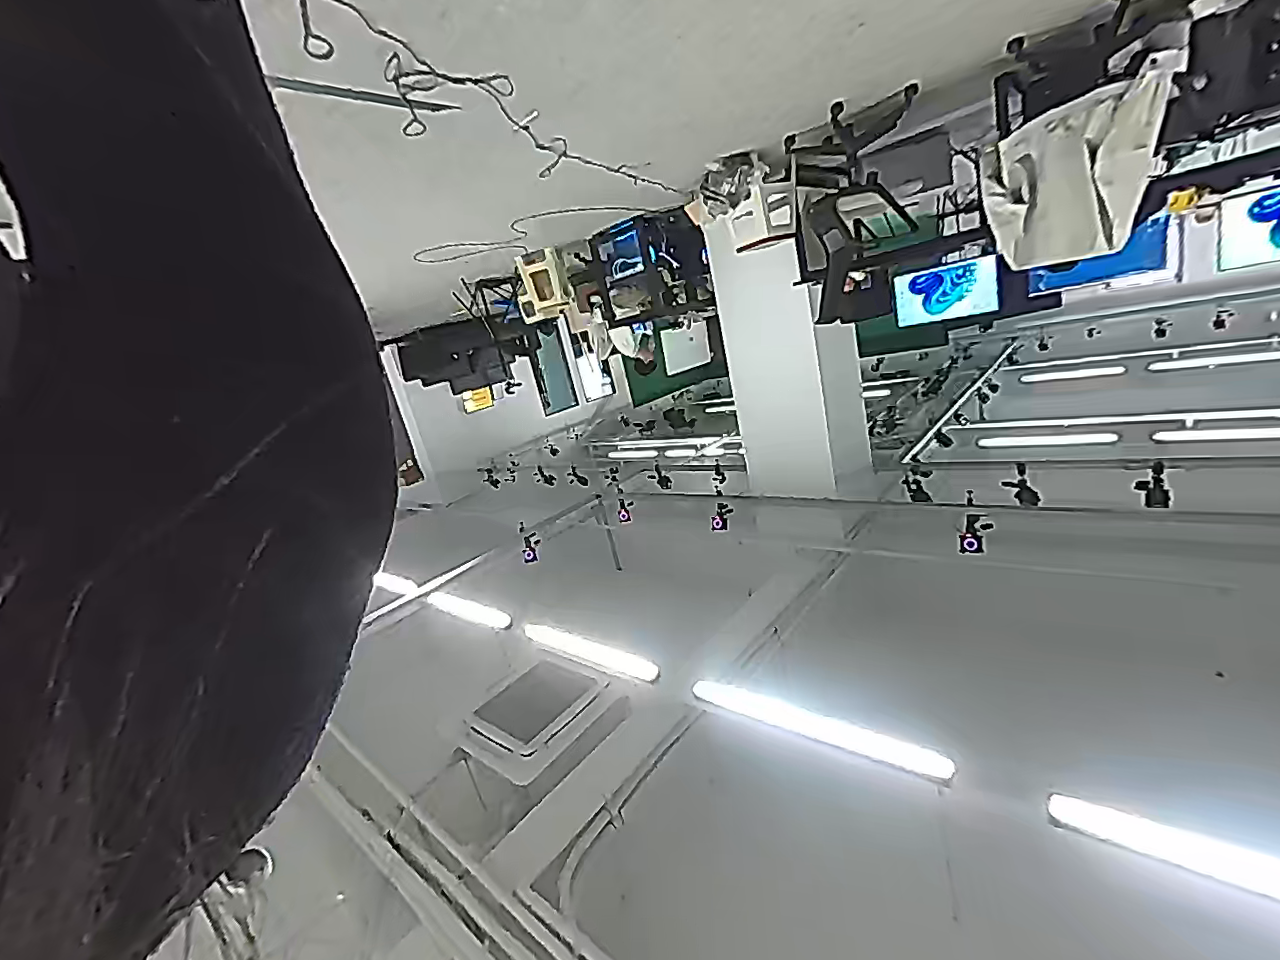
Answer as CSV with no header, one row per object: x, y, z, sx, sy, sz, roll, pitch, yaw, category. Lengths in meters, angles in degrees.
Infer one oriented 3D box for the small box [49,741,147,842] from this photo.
-1.645,0.937,1.642,0.179,0.176,0.168,3,-158,44,small box
